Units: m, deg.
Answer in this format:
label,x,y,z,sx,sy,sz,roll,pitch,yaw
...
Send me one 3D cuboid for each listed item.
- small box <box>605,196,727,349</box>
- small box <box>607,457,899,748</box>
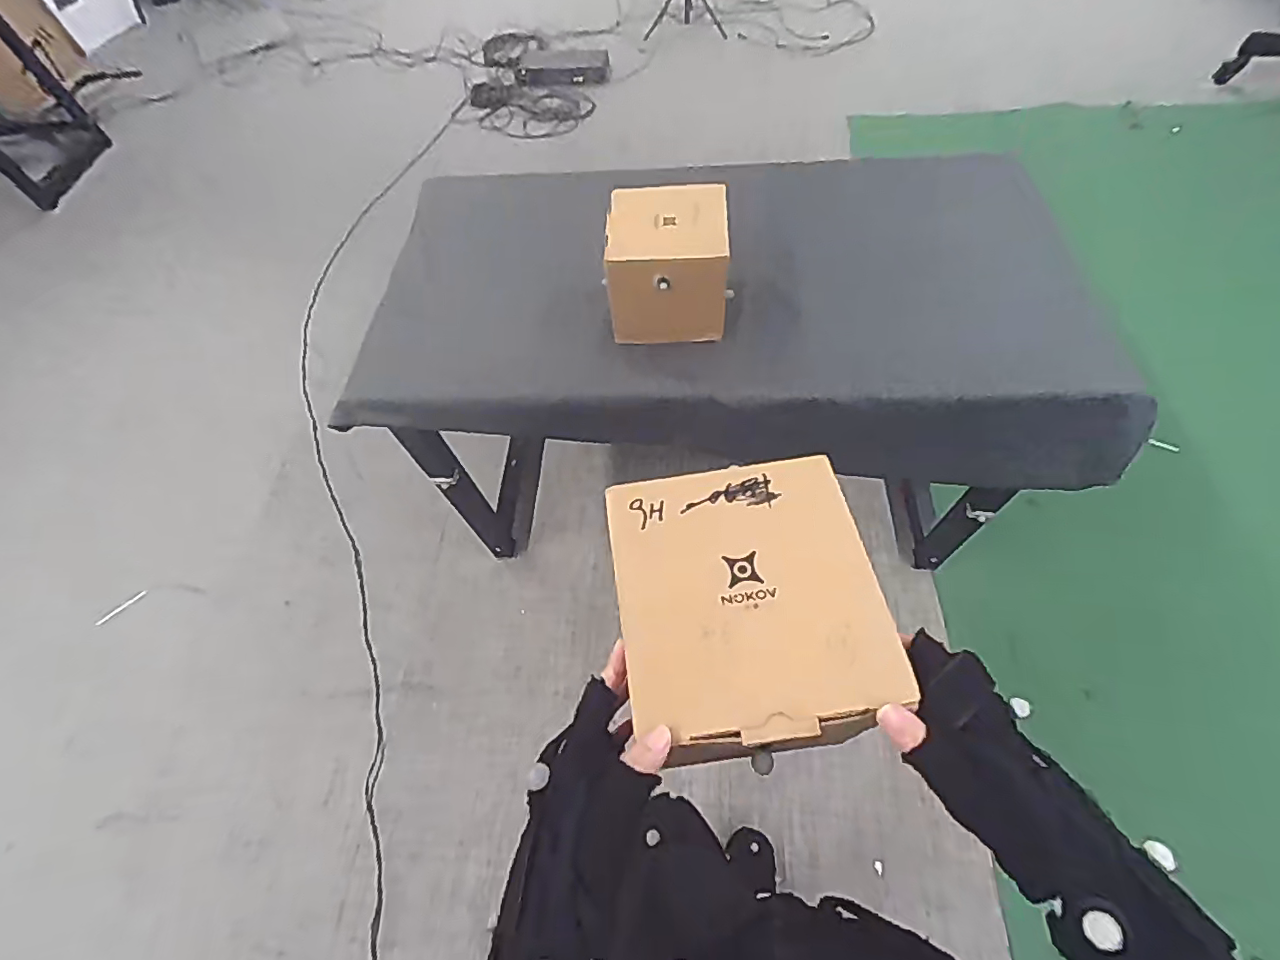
label,x,y,z,sx,sy,sz,roll,pitch,yaw
small box,0.044,-0.326,0.869,0.179,0.176,0.168,0,61,4
small box,0.071,0.107,0.432,0.168,0.176,0.179,-9,59,-1
